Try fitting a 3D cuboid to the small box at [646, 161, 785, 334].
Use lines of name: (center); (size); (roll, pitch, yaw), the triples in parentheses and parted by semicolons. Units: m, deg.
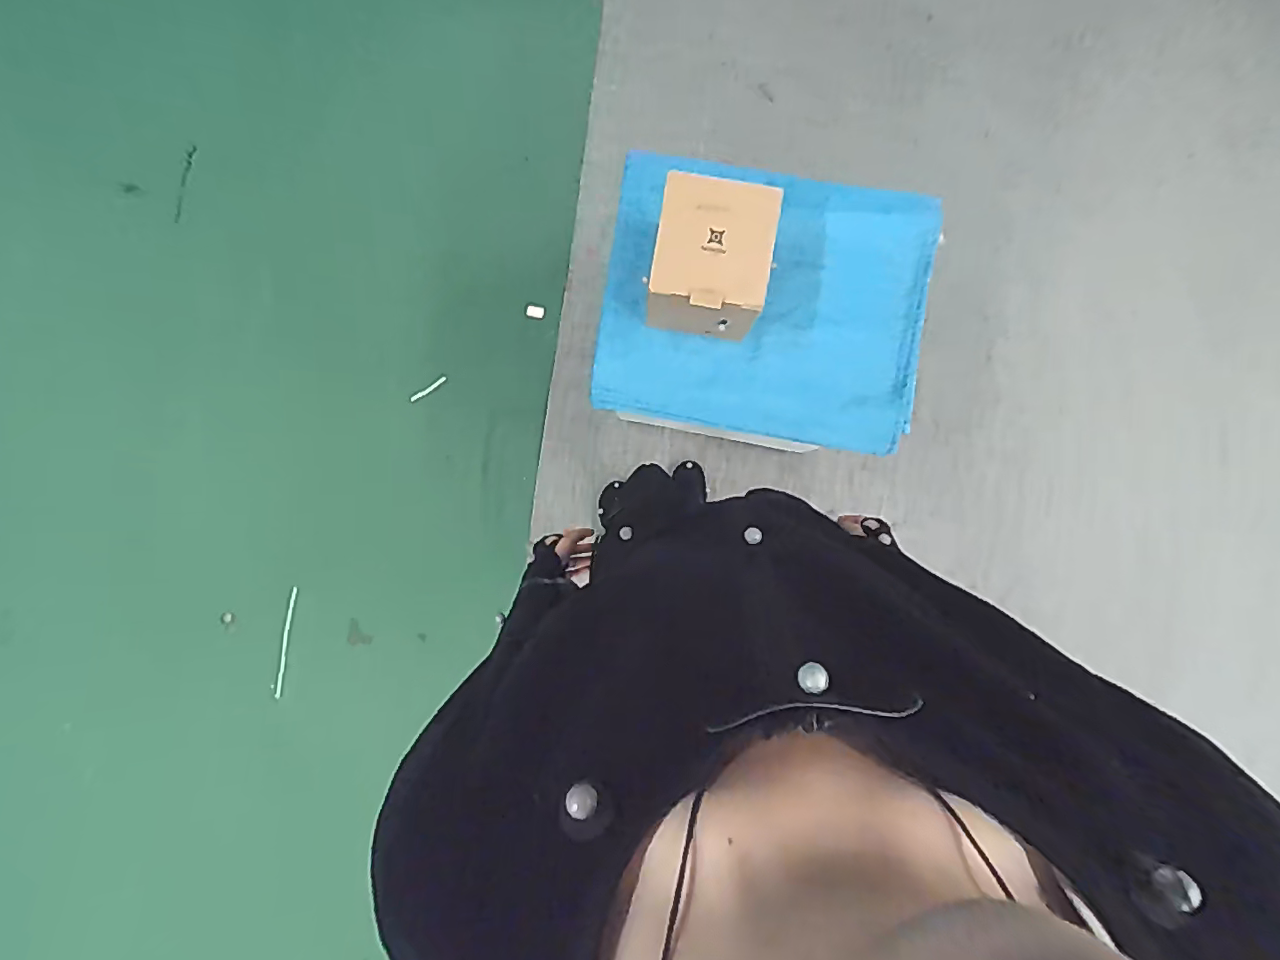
small box: (0.105, -0.337, 0.820); (0.168, 0.176, 0.179); (11, 89, 0)
